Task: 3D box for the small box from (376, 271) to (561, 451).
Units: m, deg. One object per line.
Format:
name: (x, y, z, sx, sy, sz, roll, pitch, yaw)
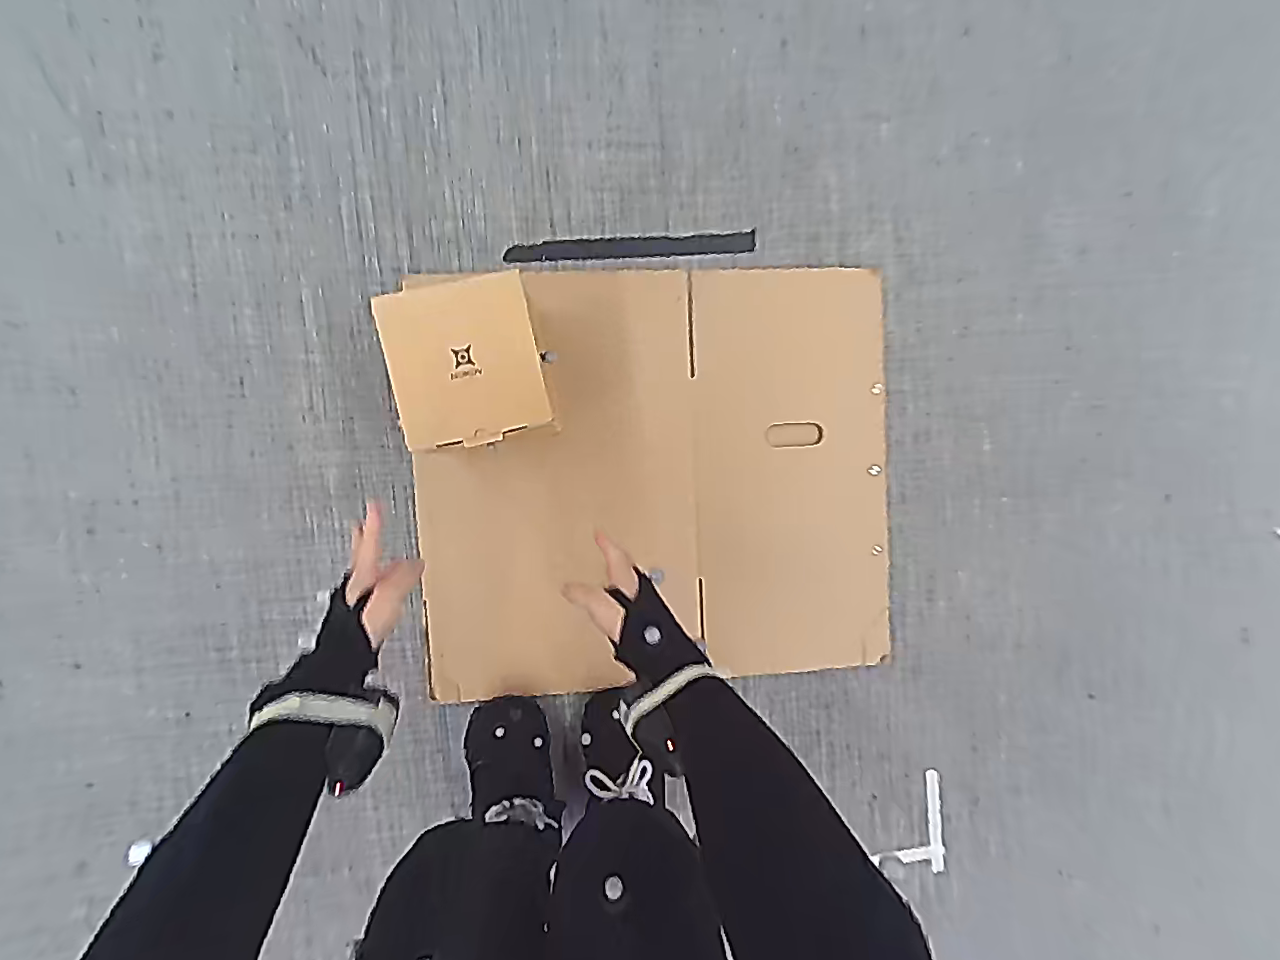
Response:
small box: (-0.200, -0.136, 0.680, 0.168, 0.176, 0.179, -13, 95, -4)
